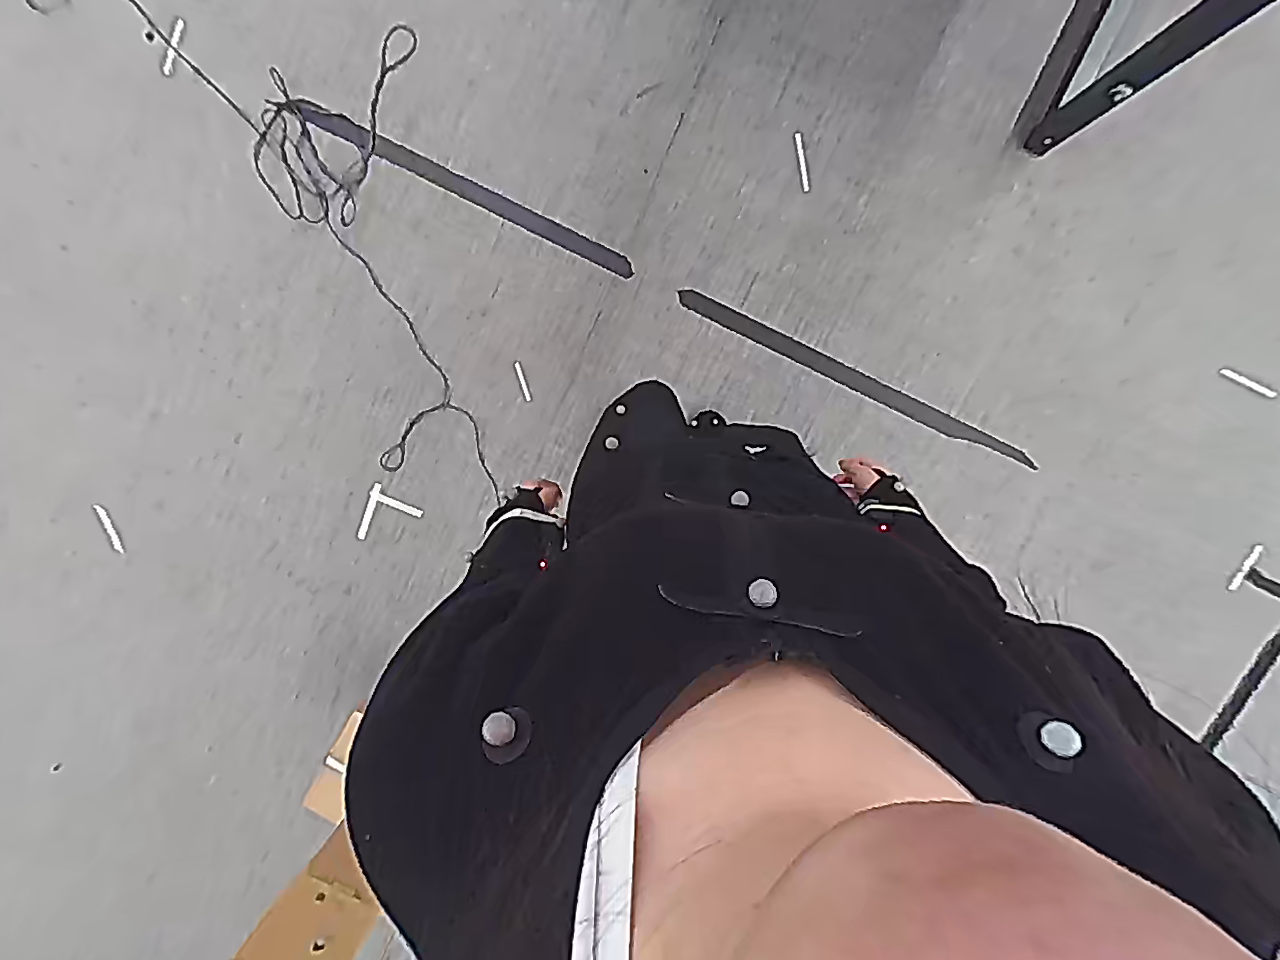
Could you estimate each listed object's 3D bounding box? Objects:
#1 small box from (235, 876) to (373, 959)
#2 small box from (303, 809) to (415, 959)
[{"bbox_3d":[-0.589,0.832,0.918,0.168,0.176,0.179,28,100,-2],"label":"small box"},{"bbox_3d":[-0.580,0.811,1.080,0.168,0.176,0.179,30,98,-2],"label":"small box"}]
